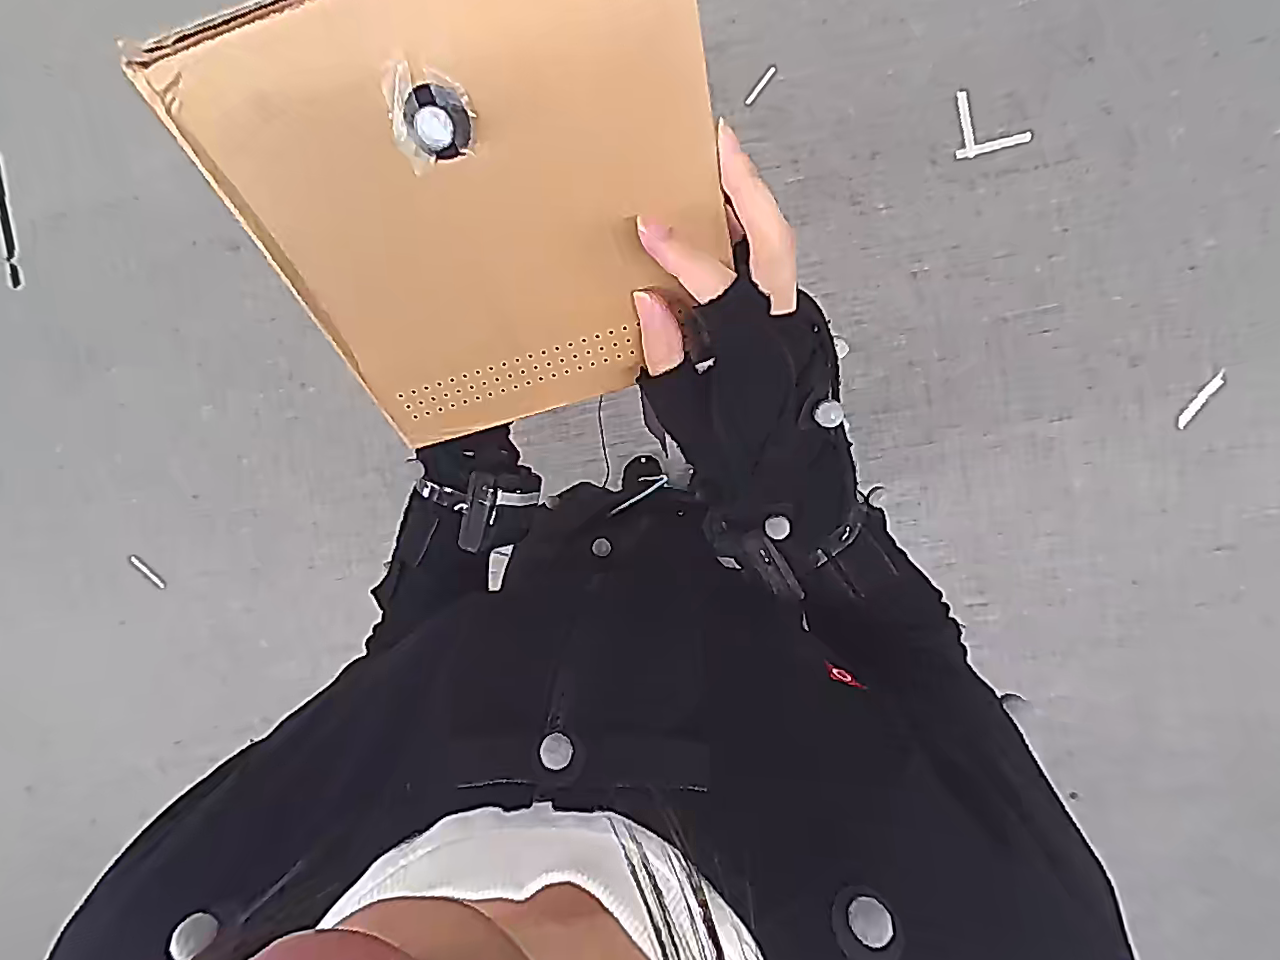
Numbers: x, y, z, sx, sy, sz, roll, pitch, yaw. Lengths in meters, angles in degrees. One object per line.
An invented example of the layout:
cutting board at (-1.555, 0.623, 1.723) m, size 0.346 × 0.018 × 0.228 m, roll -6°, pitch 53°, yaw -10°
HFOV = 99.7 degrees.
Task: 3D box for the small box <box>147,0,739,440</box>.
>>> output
small box at (-0.061, -0.144, 0.272) m, size 0.179 × 0.168 × 0.176 m, roll -15°, pitch 135°, yaw 5°
